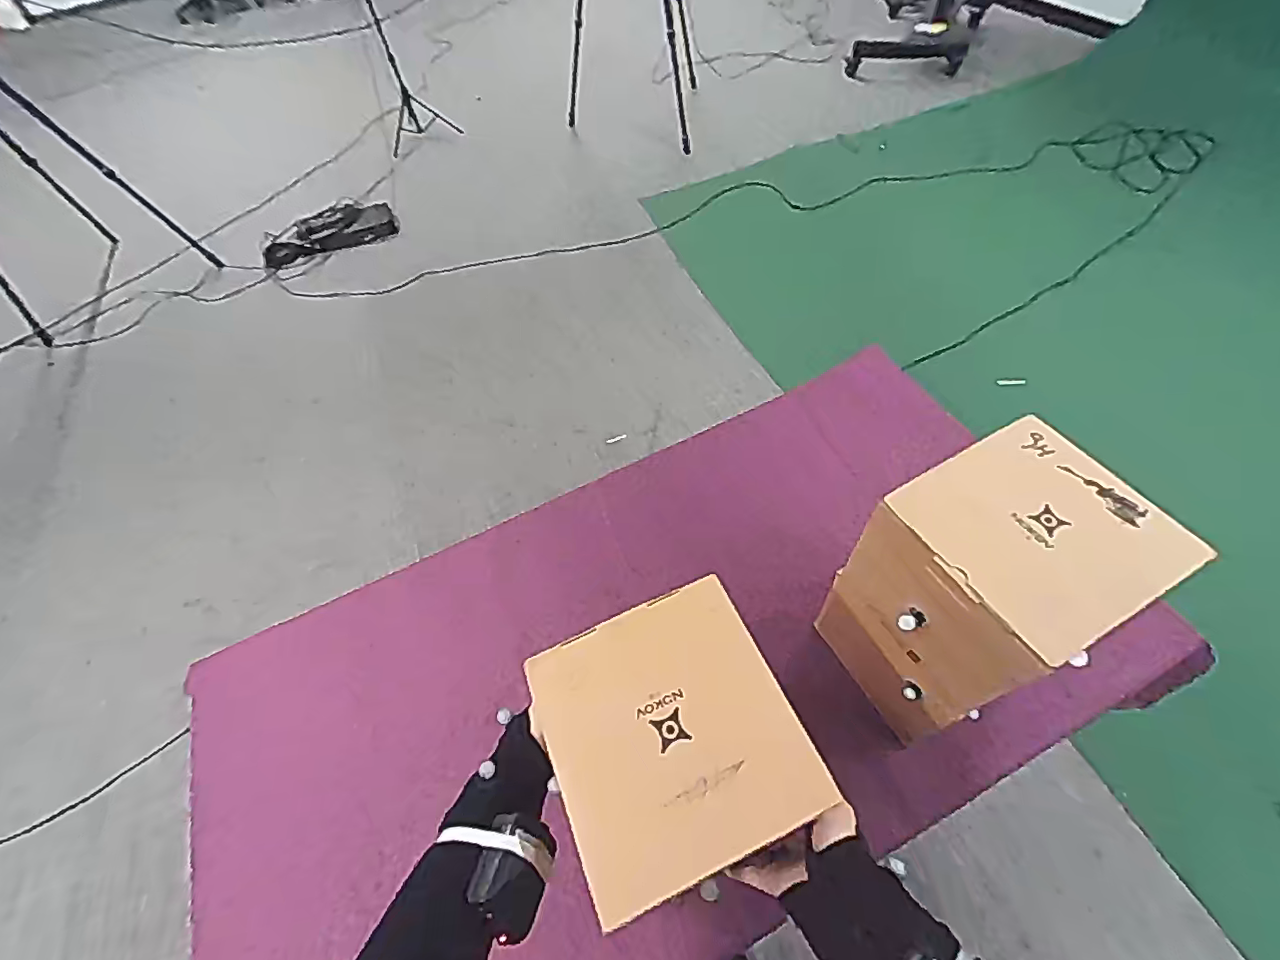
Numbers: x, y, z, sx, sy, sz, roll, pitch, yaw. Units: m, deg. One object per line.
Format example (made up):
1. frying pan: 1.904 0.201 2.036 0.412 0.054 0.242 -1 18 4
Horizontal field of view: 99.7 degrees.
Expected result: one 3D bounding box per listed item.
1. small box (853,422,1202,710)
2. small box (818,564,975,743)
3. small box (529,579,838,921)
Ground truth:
1. small box: 0.321 0.085 0.499 0.179 0.176 0.168 -27 57 -11
2. small box: 0.336 0.177 0.635 0.168 0.176 0.179 -26 57 -11
3. small box: 0.028 0.217 0.442 0.168 0.176 0.179 -23 55 -8
